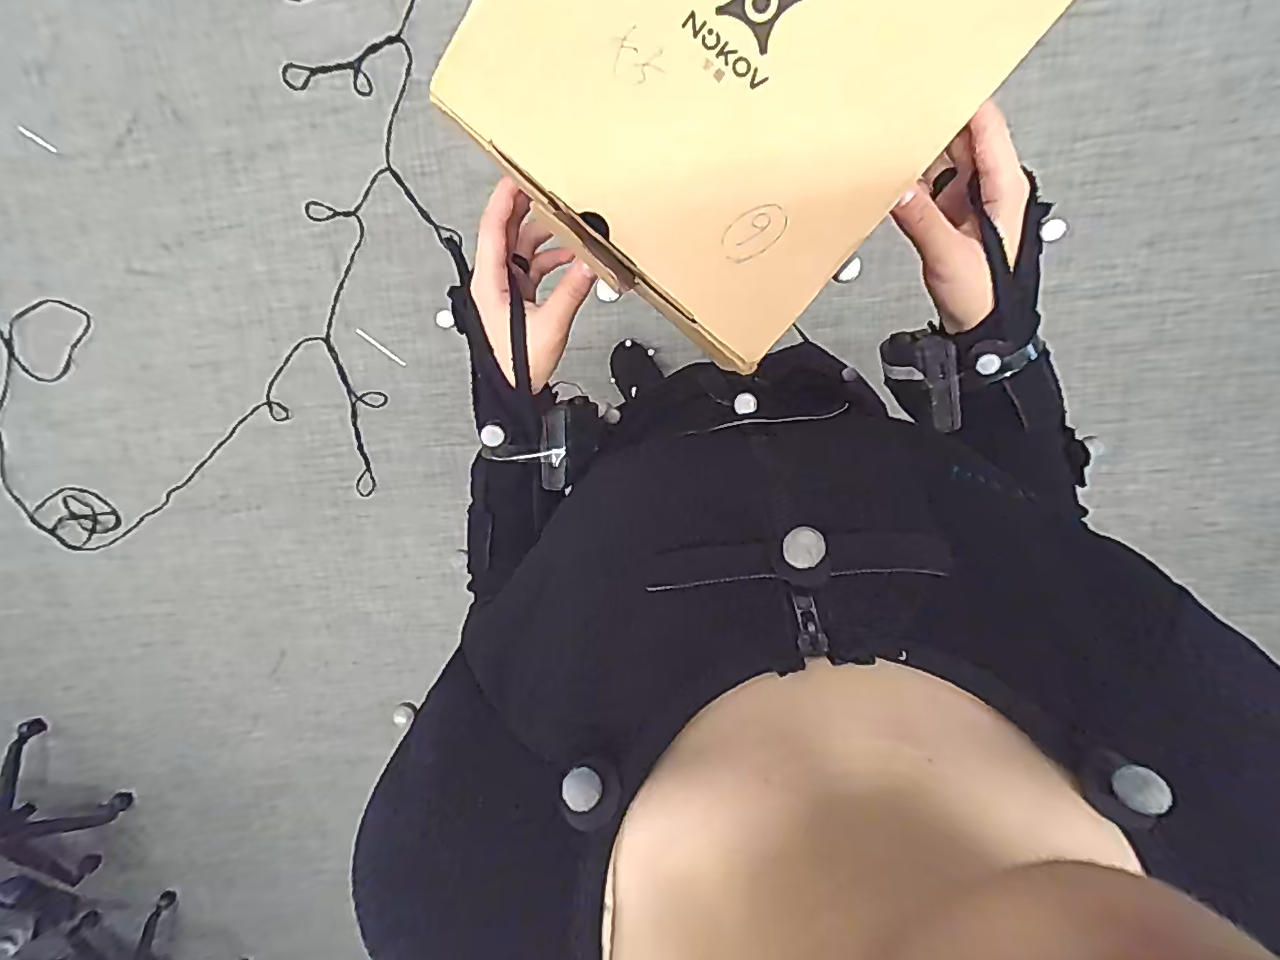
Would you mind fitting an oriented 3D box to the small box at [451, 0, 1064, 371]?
[{"bbox_3d":[0.045,-0.176,0.282,0.168,0.176,0.179,40,103,-3],"label":"small box"}]
